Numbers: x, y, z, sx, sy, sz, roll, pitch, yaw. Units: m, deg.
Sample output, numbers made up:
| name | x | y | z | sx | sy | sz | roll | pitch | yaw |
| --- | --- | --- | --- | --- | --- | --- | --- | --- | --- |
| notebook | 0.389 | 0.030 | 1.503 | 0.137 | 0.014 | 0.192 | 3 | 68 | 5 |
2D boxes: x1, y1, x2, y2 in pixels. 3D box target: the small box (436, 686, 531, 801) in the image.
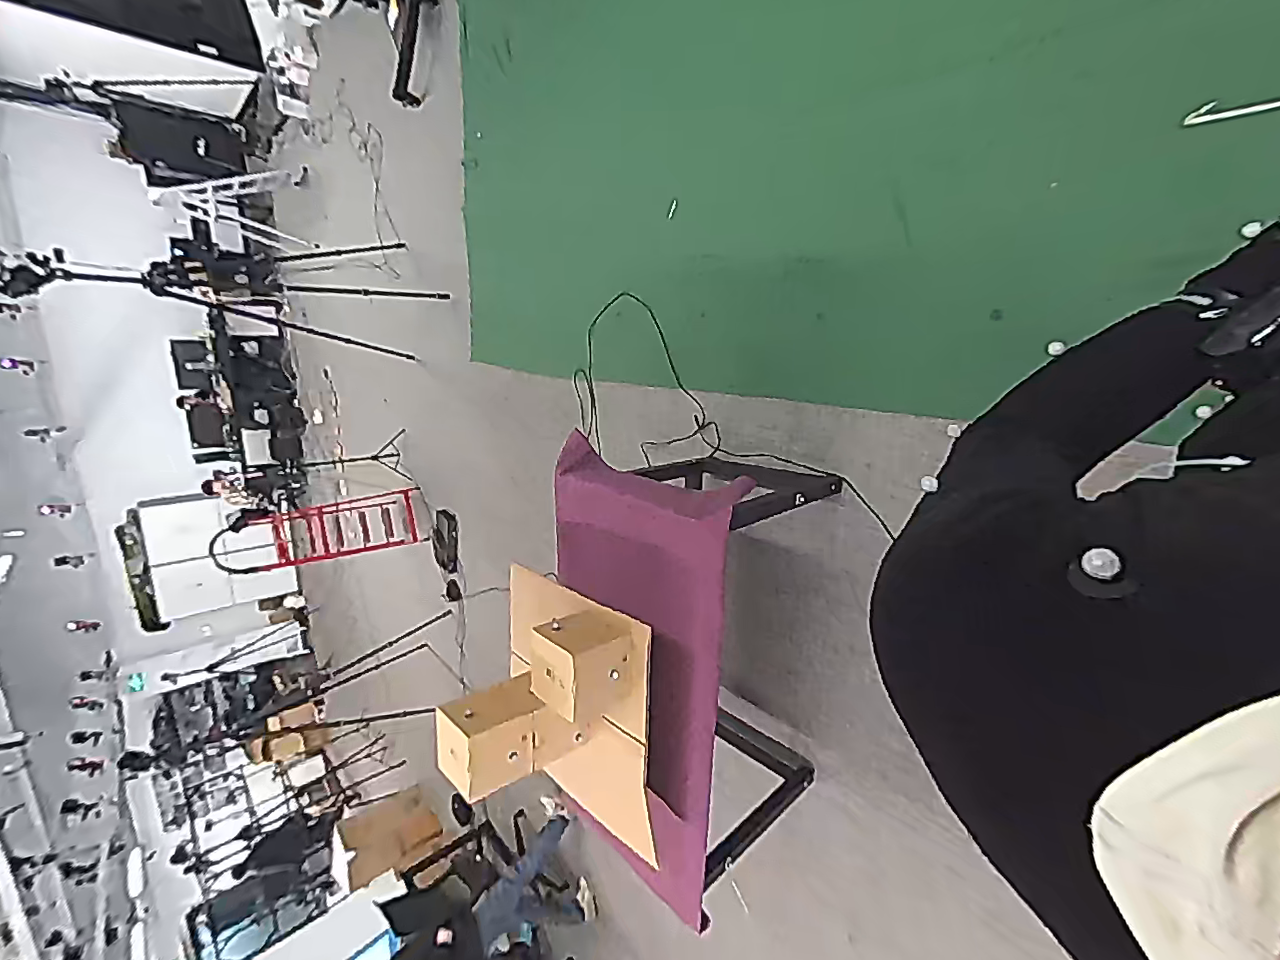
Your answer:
| name | x | y | z | sx | sy | sz | roll | pitch | yaw |
| --- | --- | --- | --- | --- | --- | --- | --- | --- | --- |
| small box | -0.381 | 0.628 | 1.319 | 0.179 | 0.176 | 0.168 | 9 | 102 | 45 |

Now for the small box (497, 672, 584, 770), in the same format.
| name | x | y | z | sx | sy | sz | roll | pitch | yaw |
| --- | --- | --- | --- | --- | --- | --- | --- | --- | --- |
| small box | -0.258 | 0.612 | 1.423 | 0.179 | 0.176 | 0.168 | 11 | 103 | 46 |

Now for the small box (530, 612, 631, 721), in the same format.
| name | x | y | z | sx | sy | sz | roll | pitch | yaw |
| --- | --- | --- | --- | --- | --- | --- | --- | --- | --- |
| small box | -0.143 | 0.426 | 1.274 | 0.179 | 0.176 | 0.168 | 12 | 105 | 45 |
